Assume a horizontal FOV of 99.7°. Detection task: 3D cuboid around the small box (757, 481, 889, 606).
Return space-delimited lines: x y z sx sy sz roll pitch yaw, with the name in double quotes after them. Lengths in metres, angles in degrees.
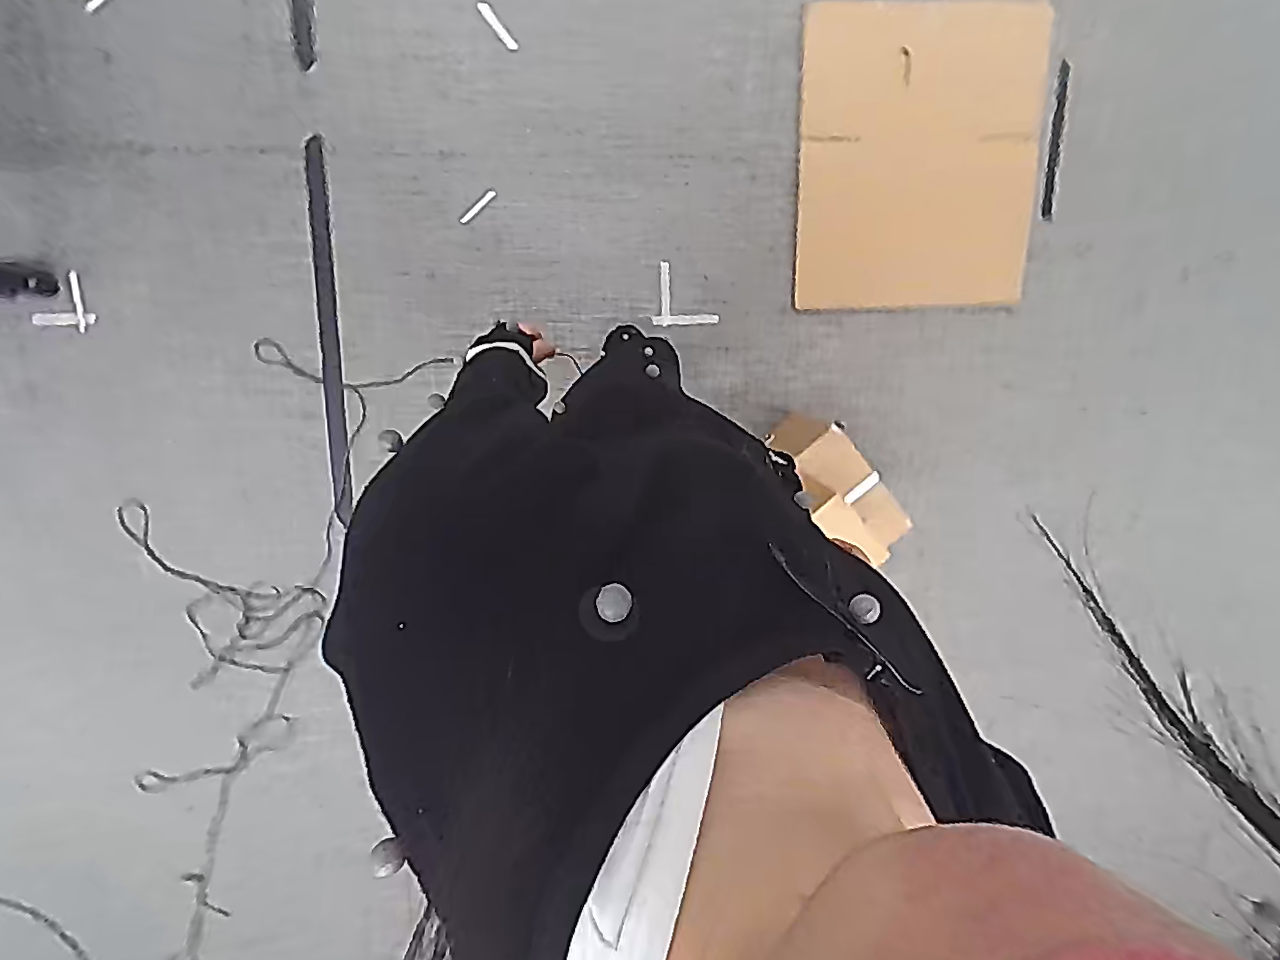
0.376 0.124 1.137 0.168 0.176 0.179 -41 99 6 "small box"
